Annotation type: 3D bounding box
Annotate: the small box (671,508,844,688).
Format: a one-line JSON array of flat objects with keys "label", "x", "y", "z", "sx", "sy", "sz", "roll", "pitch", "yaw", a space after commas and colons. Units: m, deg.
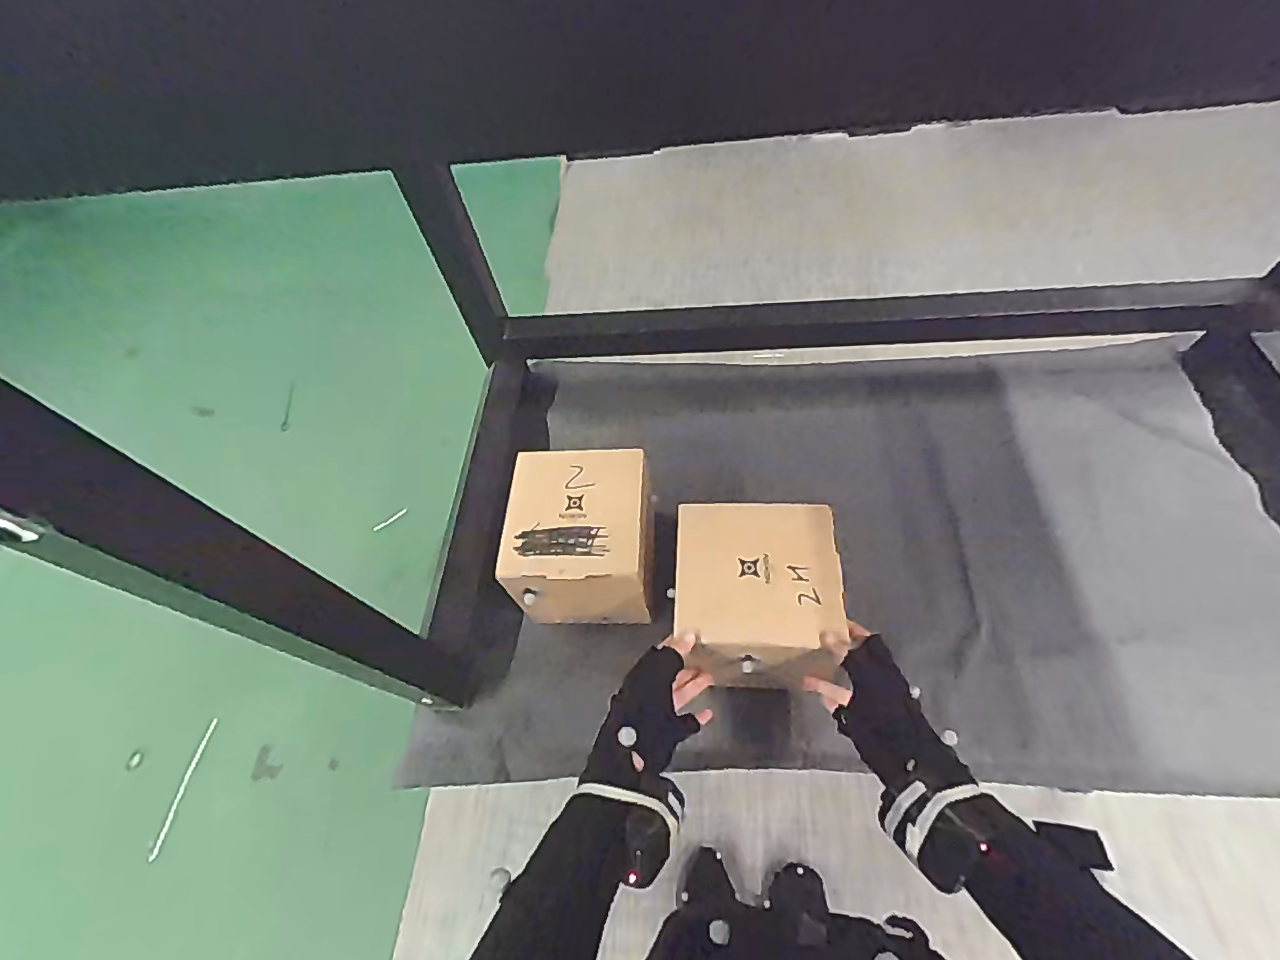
[{"label": "small box", "x": 0.133, "y": 0.147, "z": 0.657, "sx": 0.179, "sy": 0.176, "sz": 0.168, "roll": 1, "pitch": 56, "yaw": 7}]
